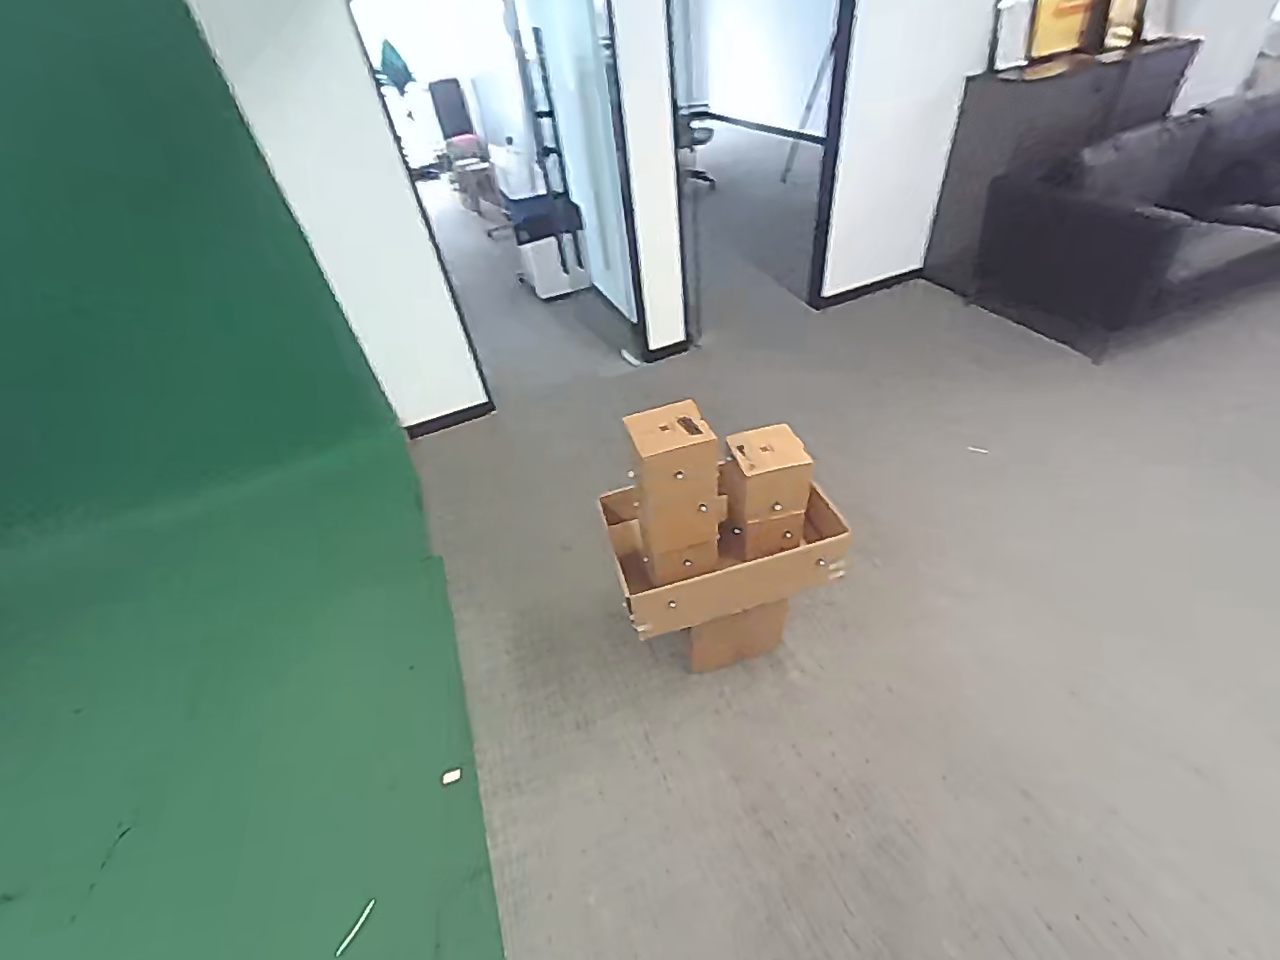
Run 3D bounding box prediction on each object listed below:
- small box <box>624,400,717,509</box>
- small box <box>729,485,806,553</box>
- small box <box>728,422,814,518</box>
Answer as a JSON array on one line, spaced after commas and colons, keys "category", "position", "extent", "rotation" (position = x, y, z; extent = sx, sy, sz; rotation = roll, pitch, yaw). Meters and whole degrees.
[{"category": "small box", "position": [0.073, -0.060, 1.279], "extent": [0.179, 0.176, 0.168], "rotation": [-17, 43, -7]}, {"category": "small box", "position": [0.360, 0.090, 1.545], "extent": [0.168, 0.176, 0.179], "rotation": [-12, 43, -3]}, {"category": "small box", "position": [0.338, -0.025, 1.434], "extent": [0.179, 0.176, 0.168], "rotation": [-13, 43, -3]}]
